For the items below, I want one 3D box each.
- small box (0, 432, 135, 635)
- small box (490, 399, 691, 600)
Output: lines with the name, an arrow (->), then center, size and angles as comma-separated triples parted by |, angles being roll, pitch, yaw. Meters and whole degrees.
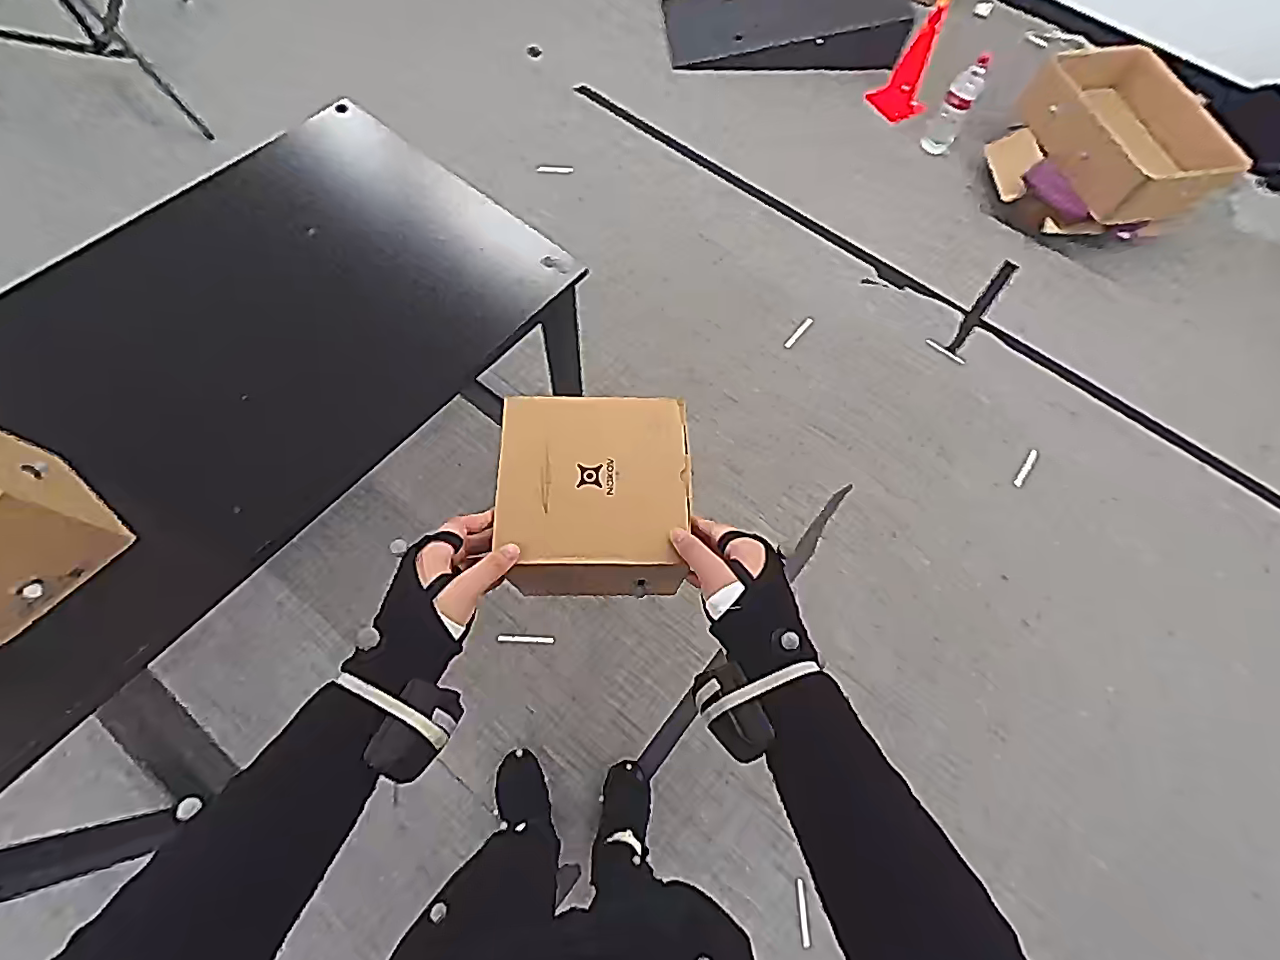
small box -> -0.735, 0.051, 0.591 | 0.179, 0.176, 0.168 | 38, 70, 11
small box -> -0.047, 0.029, 0.568 | 0.179, 0.176, 0.168 | -2, 67, -2
